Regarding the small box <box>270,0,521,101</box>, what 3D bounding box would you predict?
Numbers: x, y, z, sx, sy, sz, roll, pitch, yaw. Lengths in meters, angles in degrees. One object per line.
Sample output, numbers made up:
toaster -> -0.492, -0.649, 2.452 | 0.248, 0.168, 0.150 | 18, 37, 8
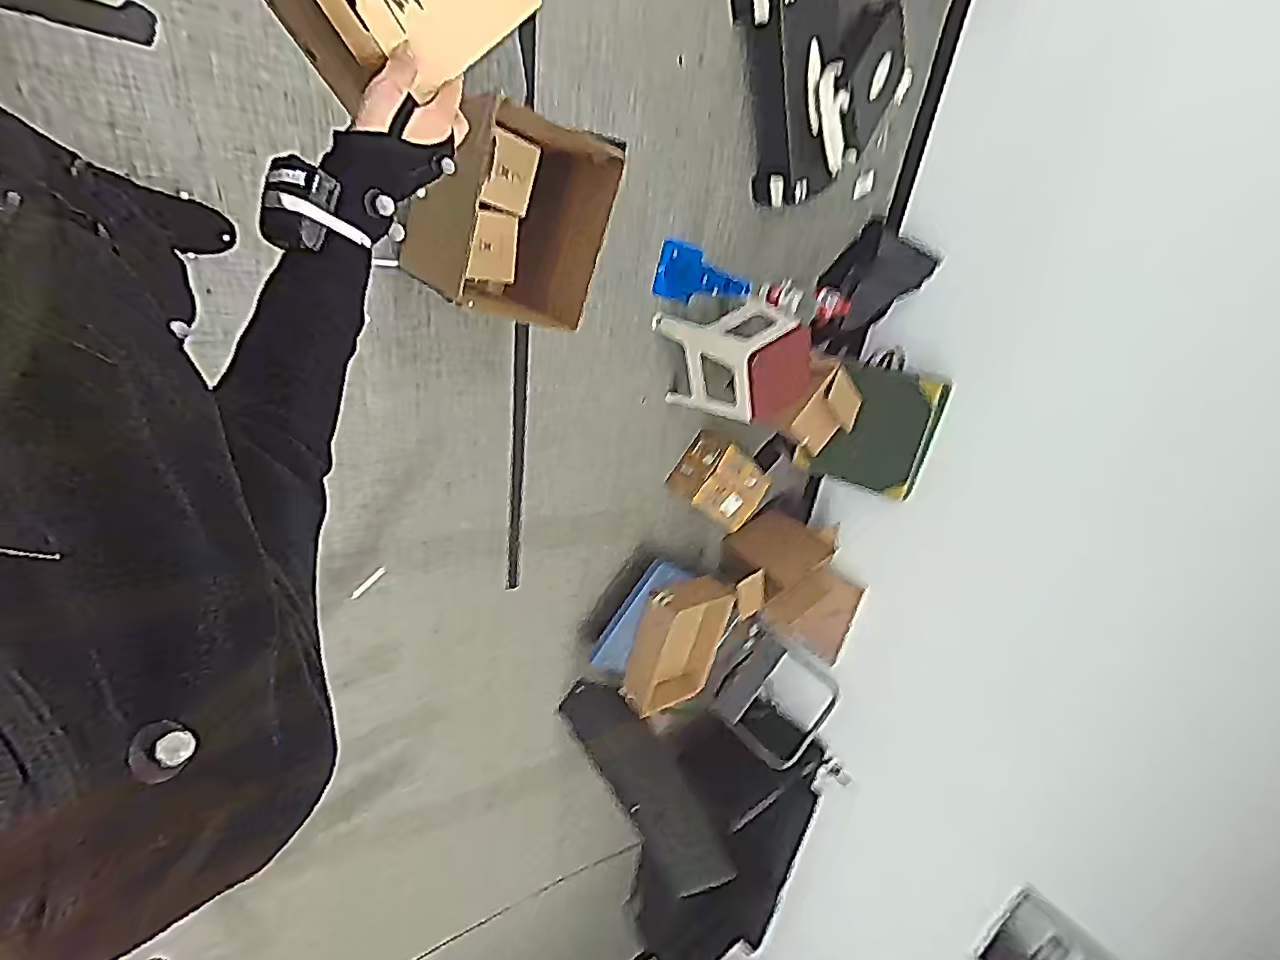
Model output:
small box -> -0.240, -0.474, 0.484 | 0.179, 0.176, 0.168 | -52, 141, -12
